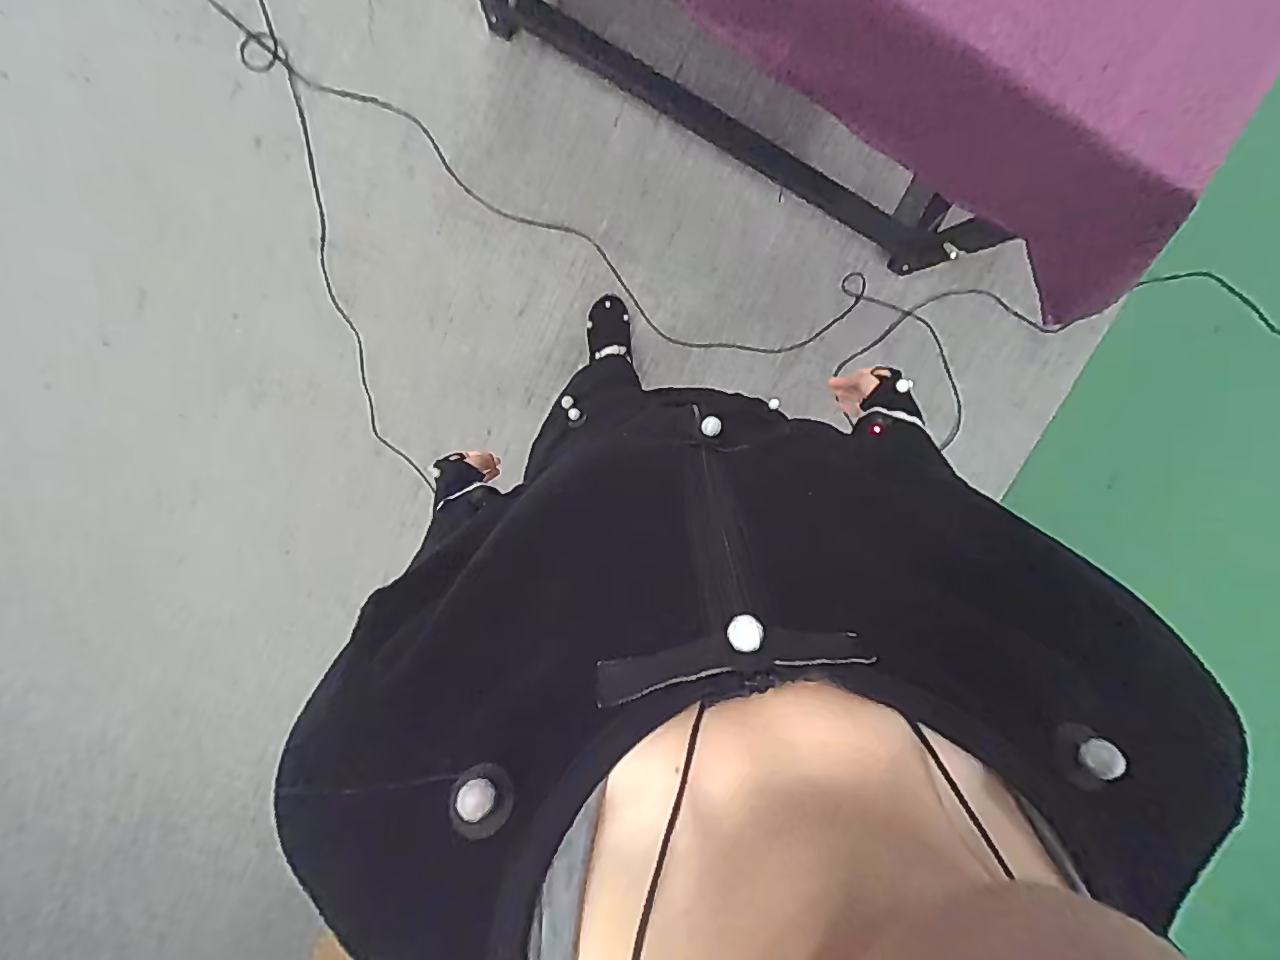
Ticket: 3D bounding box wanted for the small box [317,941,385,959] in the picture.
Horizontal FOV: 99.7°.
[{"bbox_3d":[-0.831,1.411,1.469,0.179,0.176,0.168,23,99,-8],"label":"small box"}]
